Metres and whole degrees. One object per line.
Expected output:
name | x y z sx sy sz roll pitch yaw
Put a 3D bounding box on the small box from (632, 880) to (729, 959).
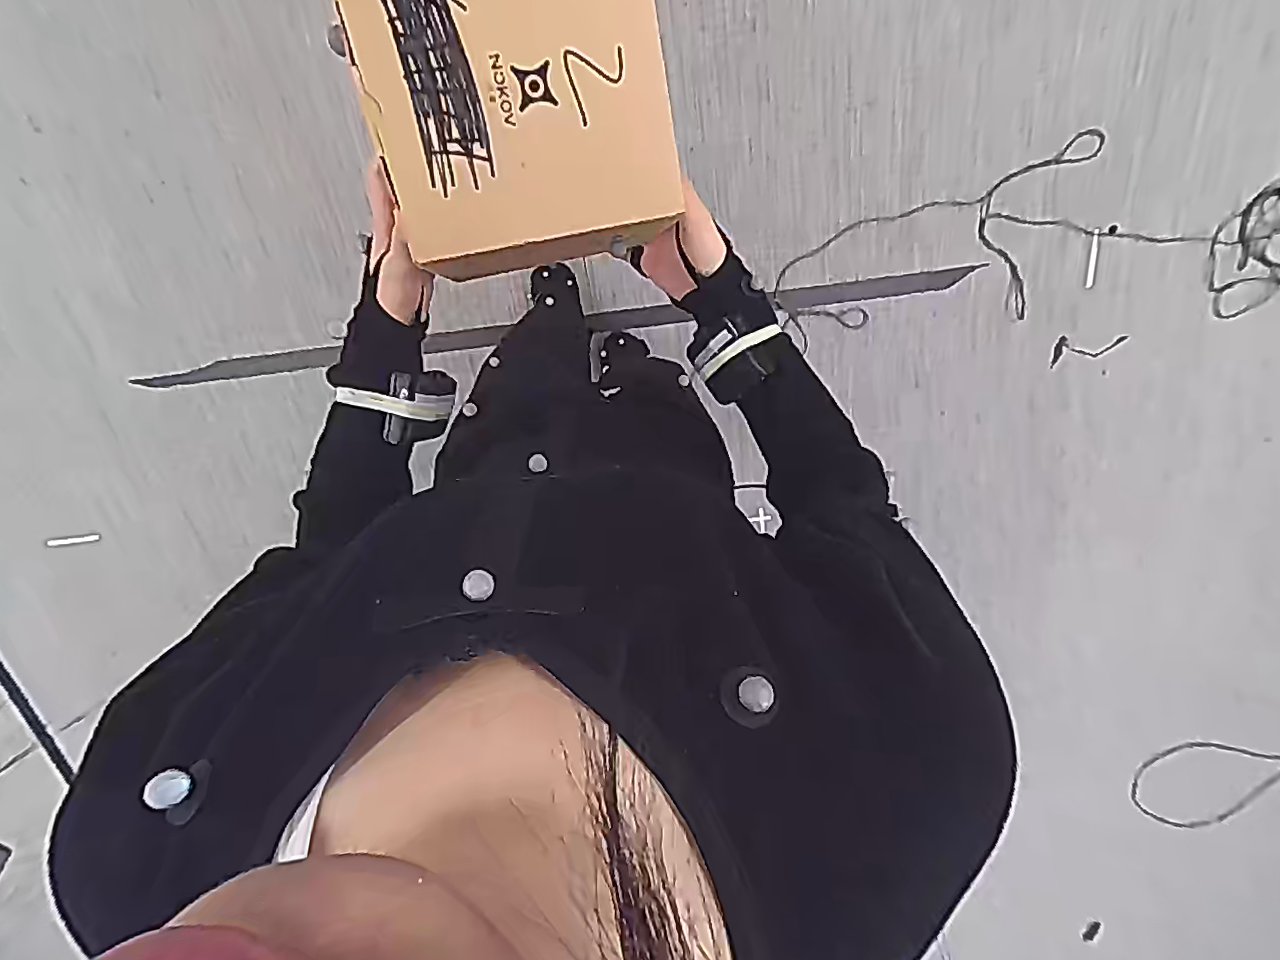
small box | 0.070 0.862 0.968 0.168 0.176 0.179 -3 107 -2
